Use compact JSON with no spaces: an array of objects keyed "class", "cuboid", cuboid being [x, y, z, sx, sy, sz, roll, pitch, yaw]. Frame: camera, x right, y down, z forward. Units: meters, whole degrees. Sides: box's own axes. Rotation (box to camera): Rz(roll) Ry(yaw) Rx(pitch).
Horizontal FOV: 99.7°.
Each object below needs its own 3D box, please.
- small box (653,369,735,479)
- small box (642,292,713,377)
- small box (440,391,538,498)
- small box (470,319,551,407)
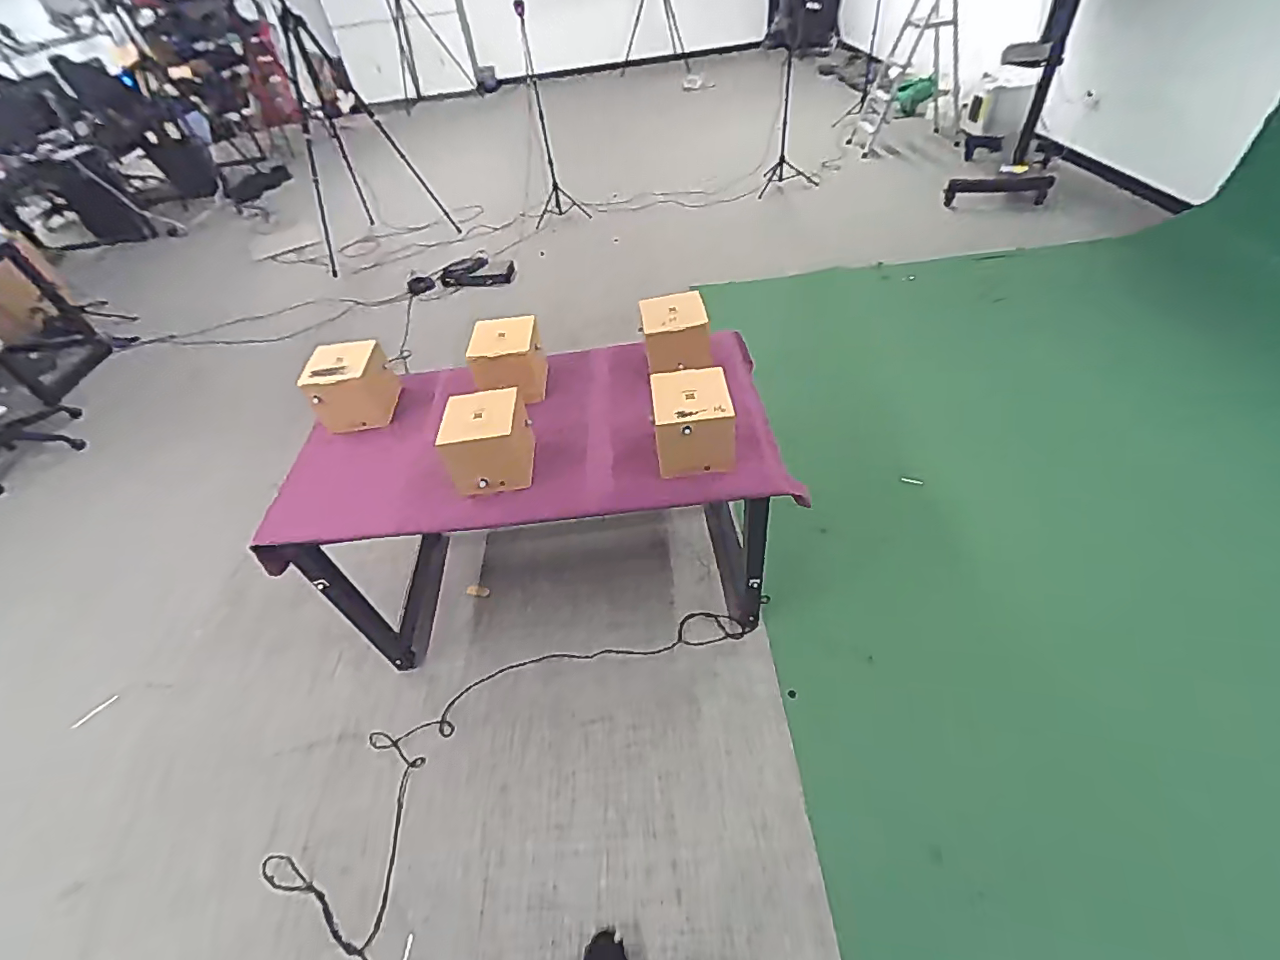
[{"class":"small box","cuboid":[0.121,-0.125,1.224,0.168,0.176,0.179,-7,47,4]},{"class":"small box","cuboid":[0.102,-0.381,1.469,0.168,0.176,0.179,-10,47,4]},{"class":"small box","cuboid":[-0.343,-0.082,1.268,0.168,0.176,0.179,-8,45,3]},{"class":"small box","cuboid":[-0.348,-0.318,1.493,0.168,0.176,0.179,-6,48,4]}]
